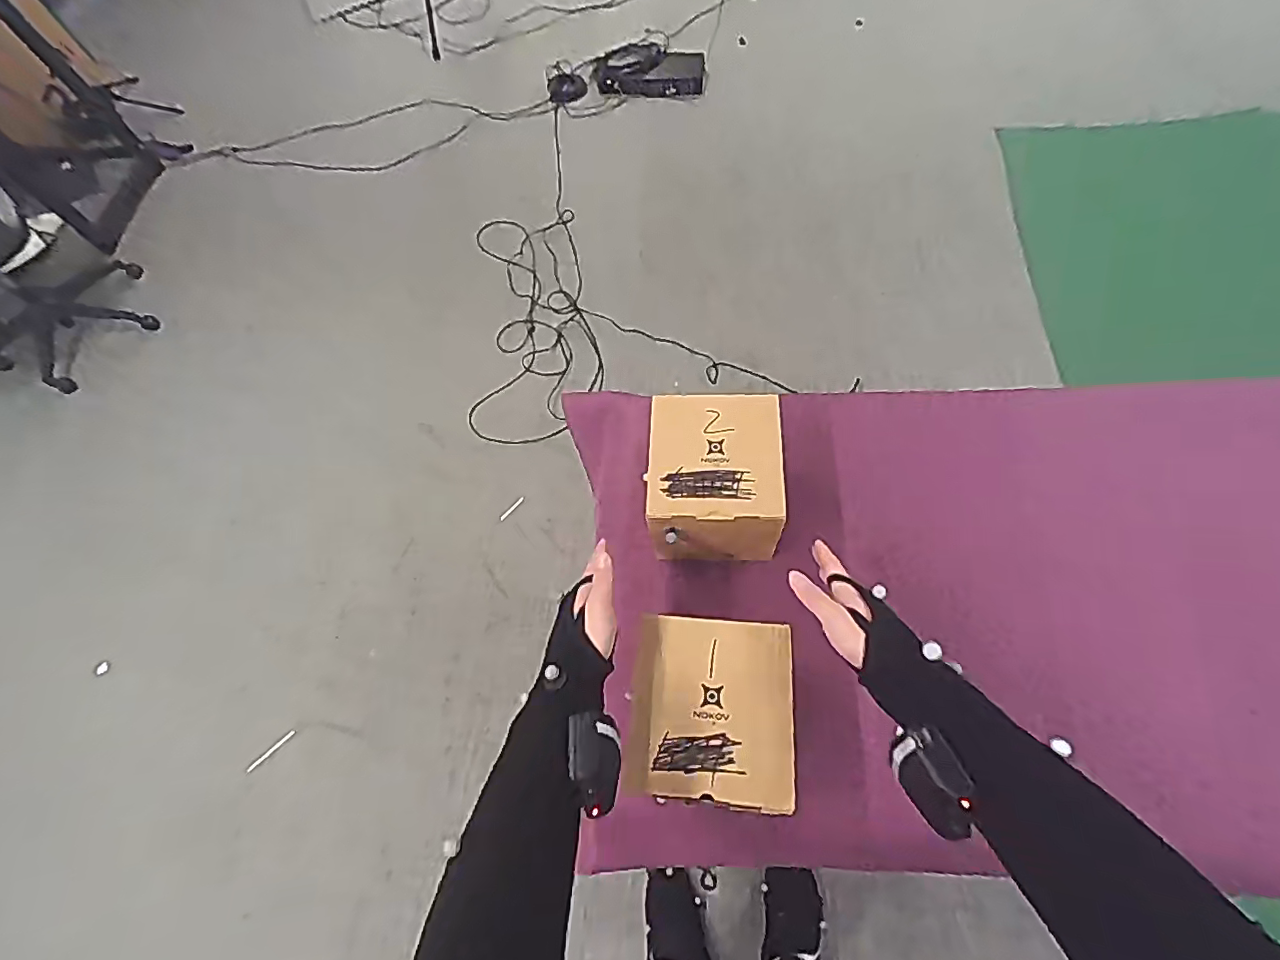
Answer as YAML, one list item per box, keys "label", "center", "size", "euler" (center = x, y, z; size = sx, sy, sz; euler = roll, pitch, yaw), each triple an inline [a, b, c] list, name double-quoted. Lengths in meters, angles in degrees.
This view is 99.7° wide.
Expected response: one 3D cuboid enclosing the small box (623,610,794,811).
- label: "small box"
  center: [0.081, 0.261, 0.619]
  size: [0.168, 0.176, 0.179]
  euler: [3, 63, 7]
